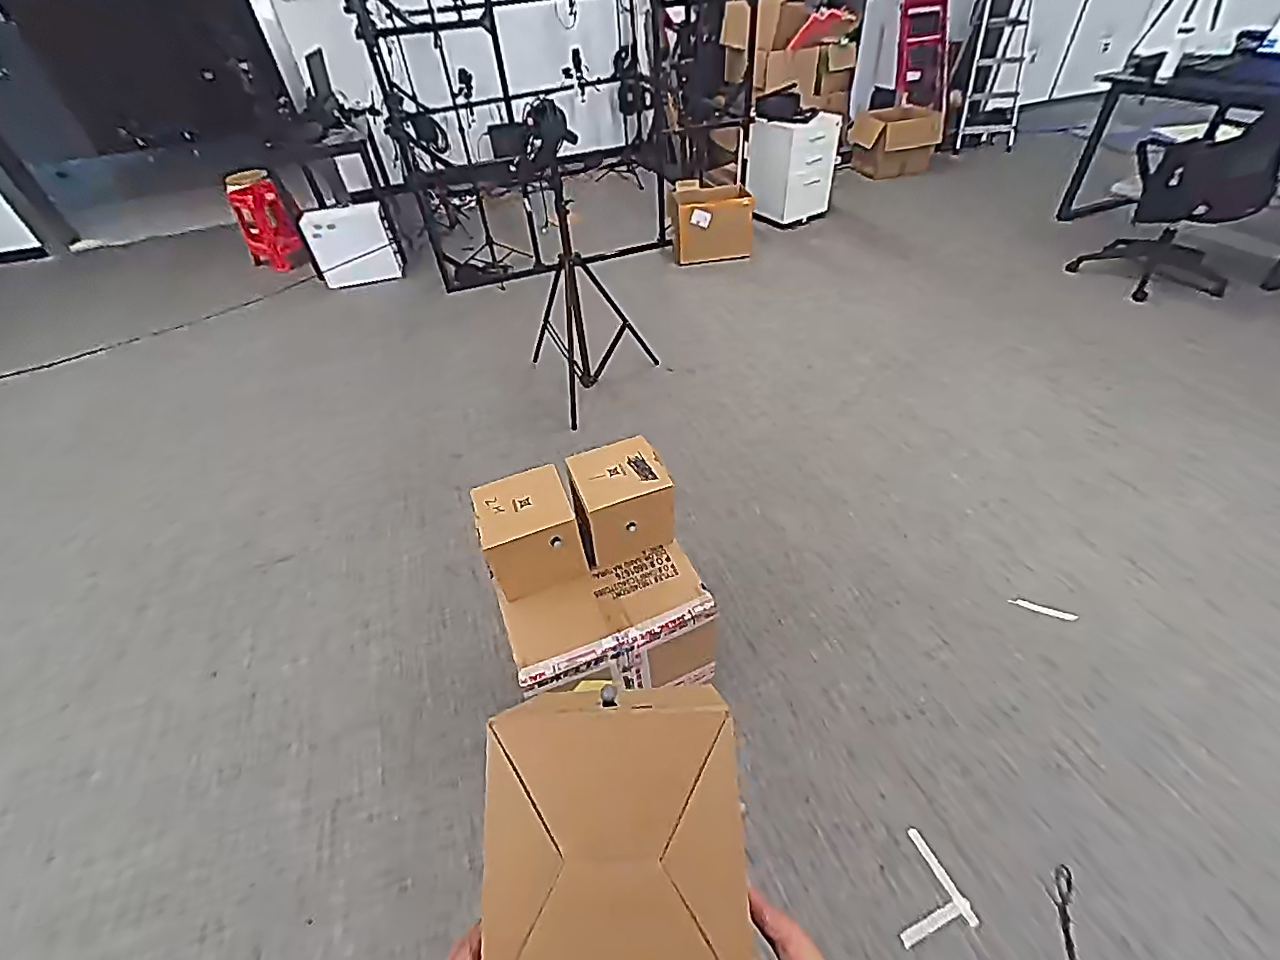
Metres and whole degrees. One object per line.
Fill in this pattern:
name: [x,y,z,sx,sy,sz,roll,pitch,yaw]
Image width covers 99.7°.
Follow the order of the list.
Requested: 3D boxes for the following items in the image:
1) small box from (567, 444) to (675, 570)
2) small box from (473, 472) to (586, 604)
small box: [-0.039,0.057,1.129,0.179,0.176,0.168,-18,46,-13]
small box: [-0.214,0.117,1.083,0.179,0.176,0.168,-19,45,-10]
